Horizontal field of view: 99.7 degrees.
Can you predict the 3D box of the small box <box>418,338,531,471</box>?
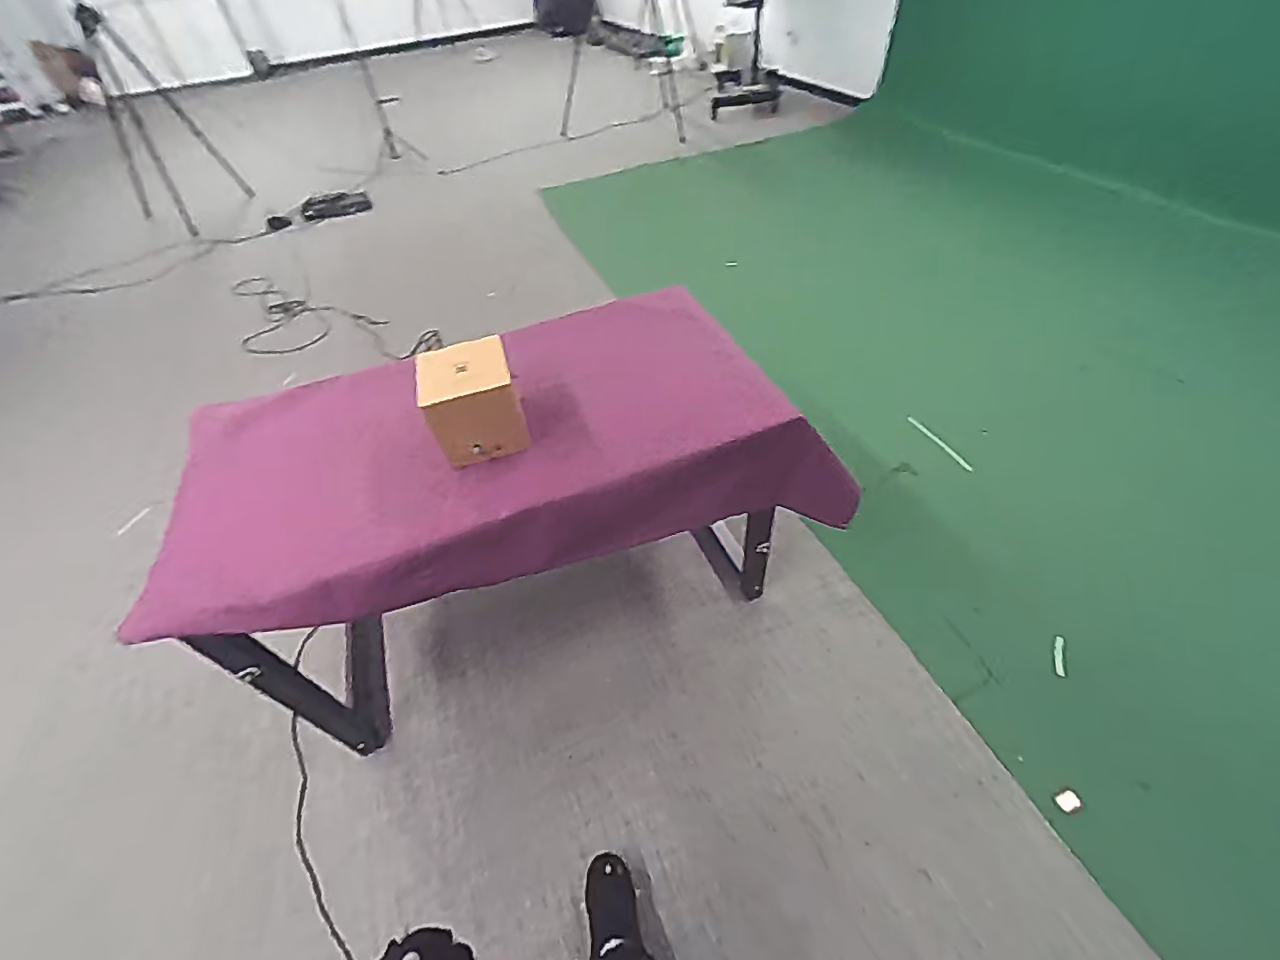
[{"bbox_3d":[-0.324,-0.148,1.066,0.168,0.176,0.179,-16,49,-8],"label":"small box"}]
